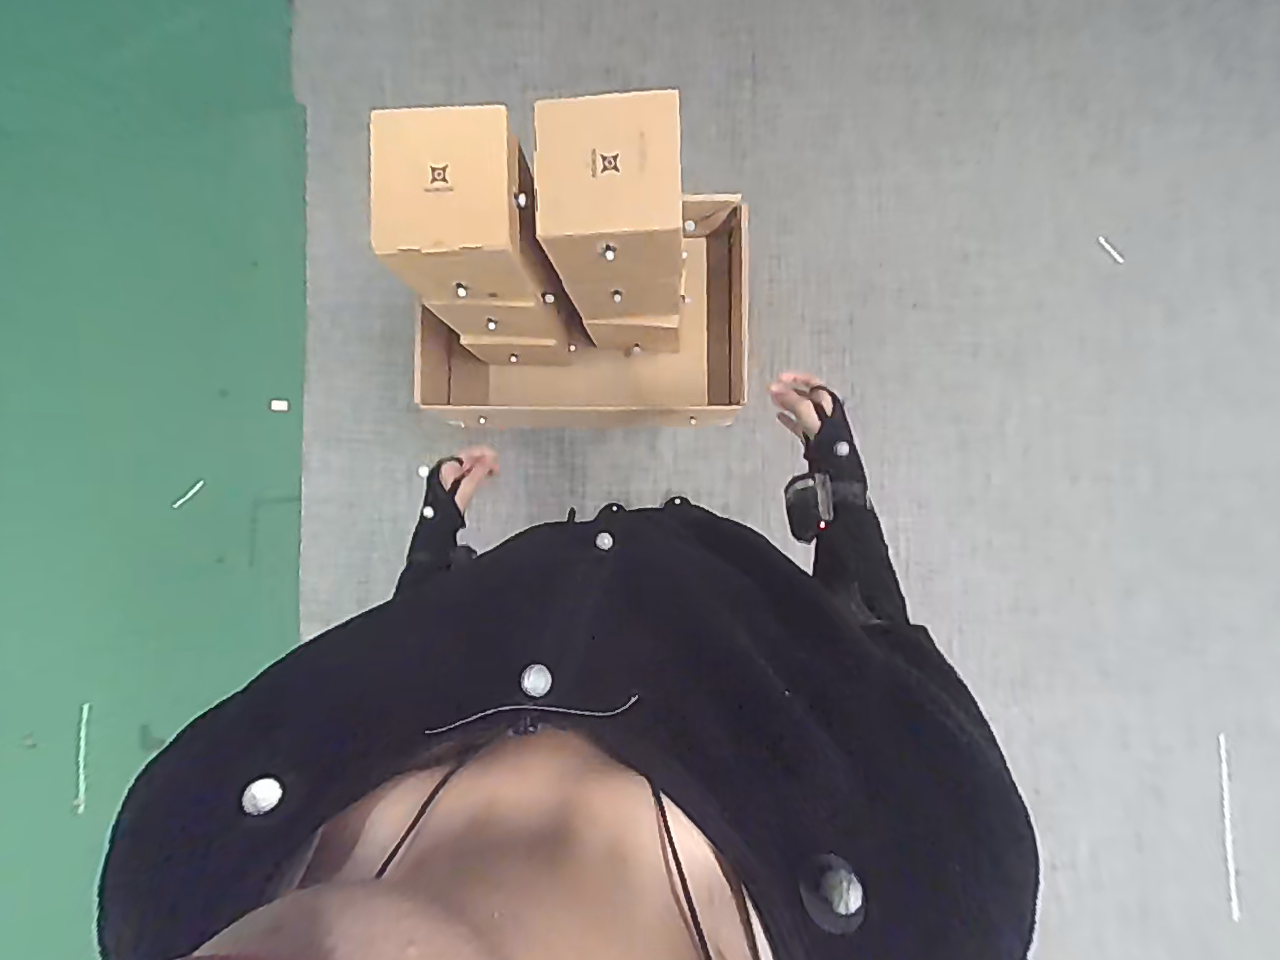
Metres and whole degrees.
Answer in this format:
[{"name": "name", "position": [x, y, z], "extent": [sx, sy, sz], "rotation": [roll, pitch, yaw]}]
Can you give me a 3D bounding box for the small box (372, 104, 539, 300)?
[{"name": "small box", "position": [-0.233, -0.356, 0.720], "extent": [0.168, 0.176, 0.179], "rotation": [-1, 88, 2]}]
